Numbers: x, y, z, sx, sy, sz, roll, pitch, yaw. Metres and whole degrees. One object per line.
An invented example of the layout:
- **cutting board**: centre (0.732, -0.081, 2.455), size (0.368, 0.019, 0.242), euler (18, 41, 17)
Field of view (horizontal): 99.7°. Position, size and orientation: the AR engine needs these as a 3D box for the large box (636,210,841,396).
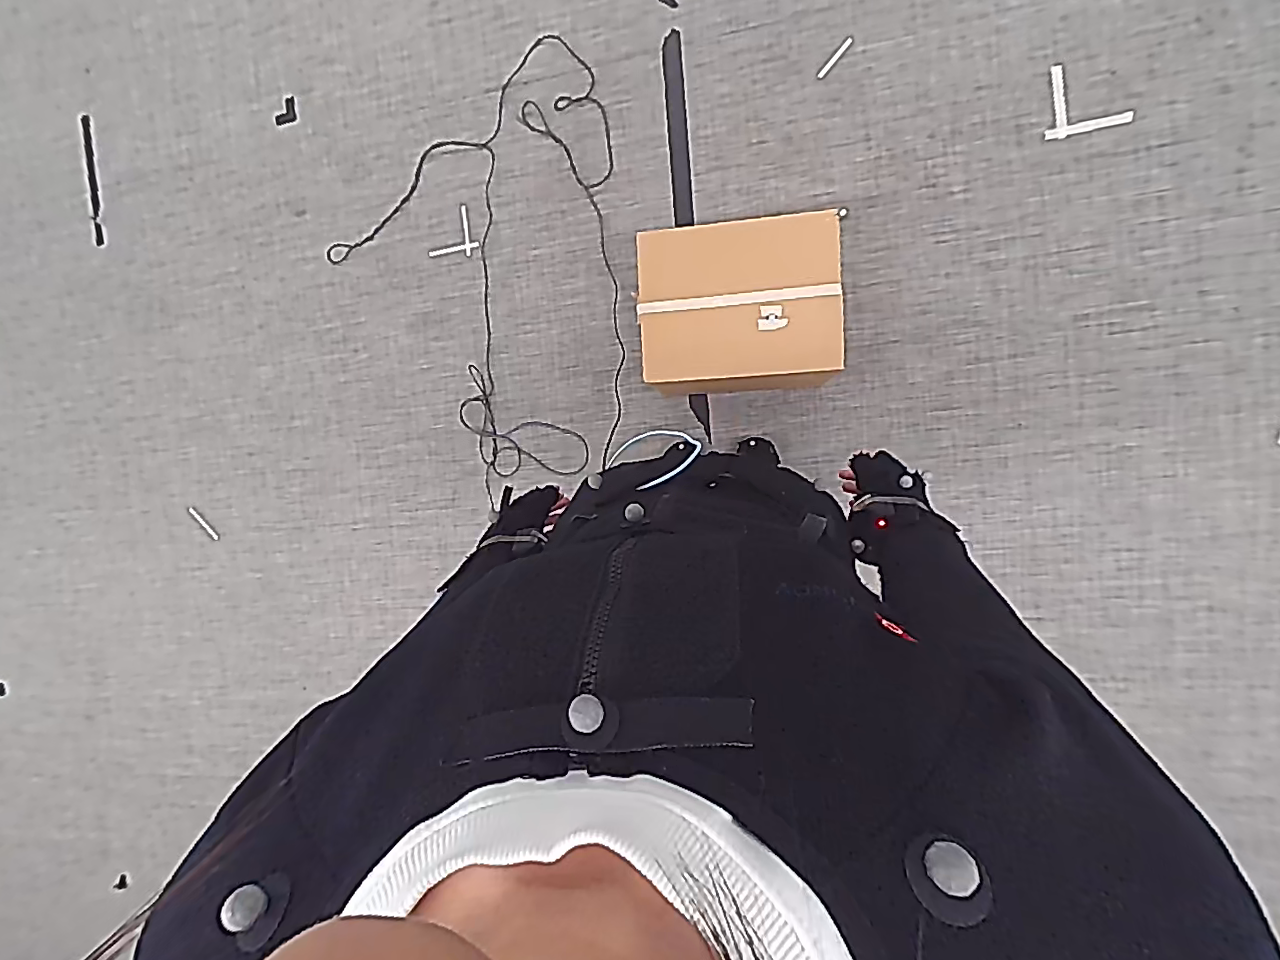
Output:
- **large box**: centre (0.218, -0.377, 1.249), size (0.408, 0.320, 0.320), euler (-3, 93, 9)
